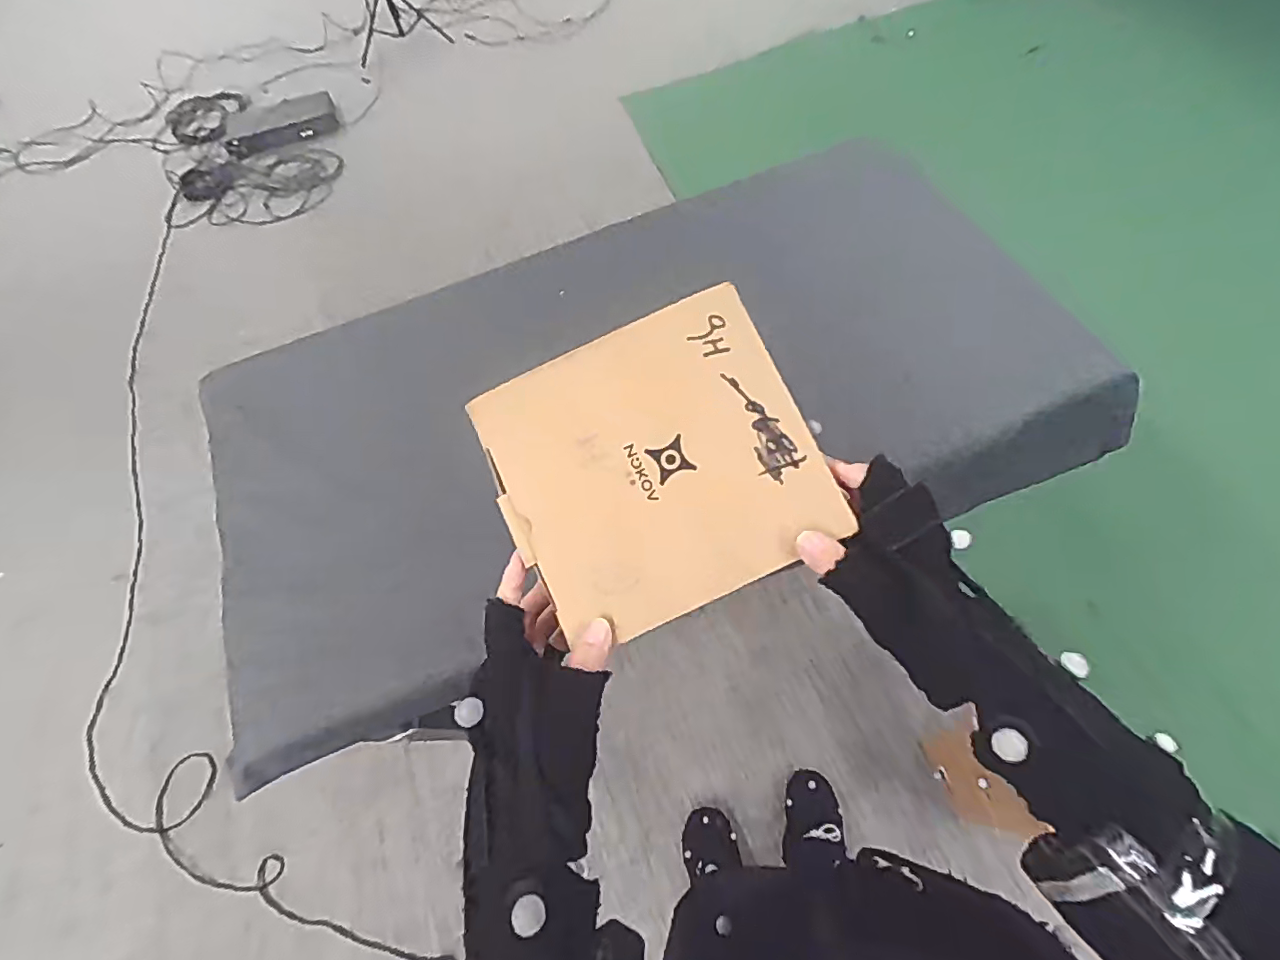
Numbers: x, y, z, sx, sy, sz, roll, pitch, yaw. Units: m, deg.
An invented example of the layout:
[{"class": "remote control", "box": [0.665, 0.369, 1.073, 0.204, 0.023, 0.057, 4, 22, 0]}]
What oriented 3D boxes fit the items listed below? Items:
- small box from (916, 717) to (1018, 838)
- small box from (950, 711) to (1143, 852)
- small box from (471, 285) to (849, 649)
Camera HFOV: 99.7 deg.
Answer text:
[{"class": "small box", "box": [0.703, 0.594, 1.098, 0.179, 0.176, 0.168, -19, 63, -3]}, {"class": "small box", "box": [0.695, 0.520, 0.950, 0.179, 0.176, 0.168, -18, 63, -3]}, {"class": "small box", "box": [0.013, 0.001, 0.387, 0.179, 0.176, 0.168, -23, 82, 0]}]
